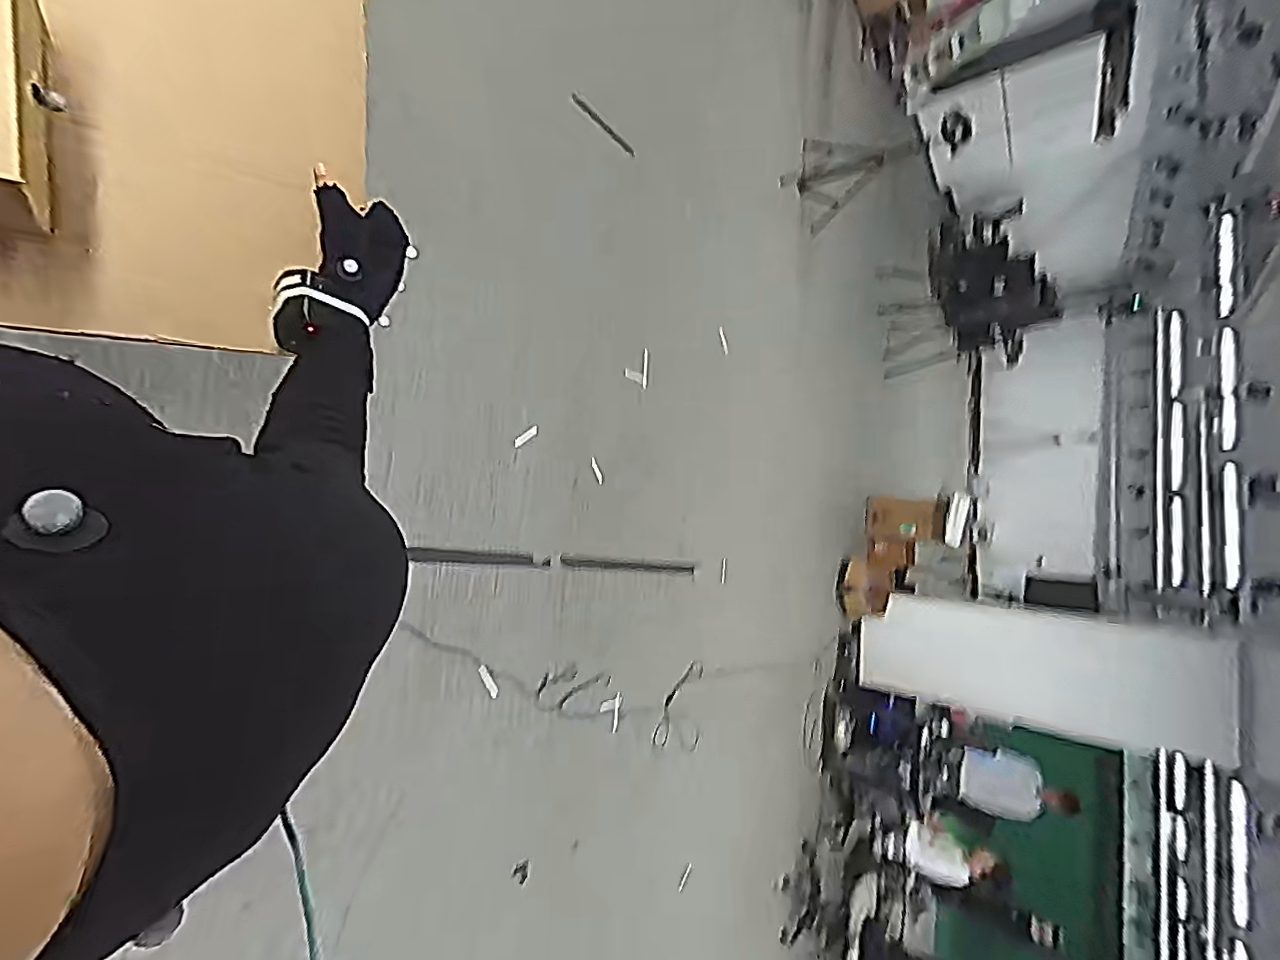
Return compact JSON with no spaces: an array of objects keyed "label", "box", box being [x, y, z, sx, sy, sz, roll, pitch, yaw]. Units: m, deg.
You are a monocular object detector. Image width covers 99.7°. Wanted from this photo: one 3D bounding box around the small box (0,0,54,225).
[{"label":"small box","box":[-0.462,-0.261,0.303,0.179,0.176,0.168,0,97,-44]}]
